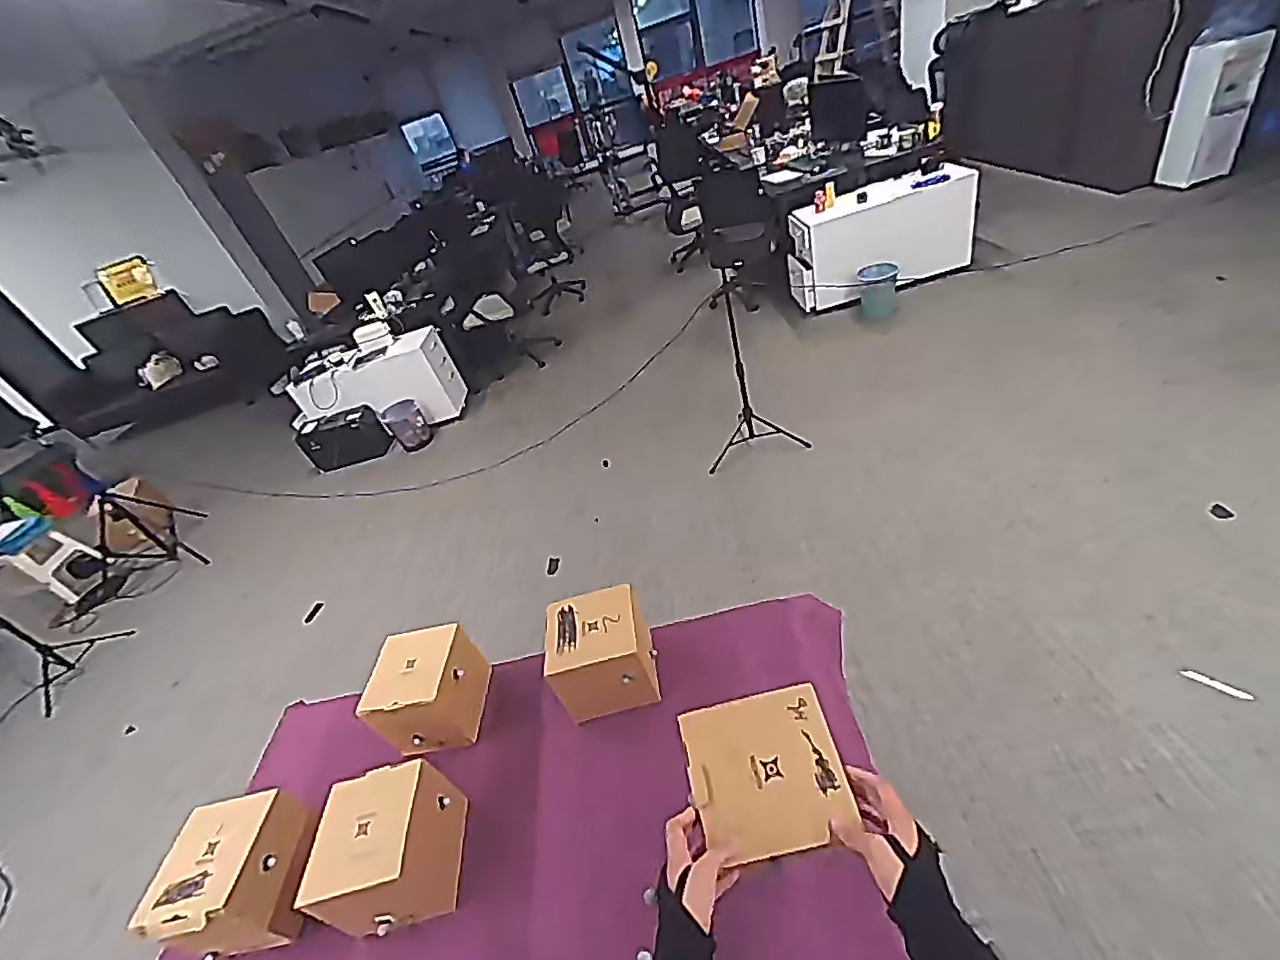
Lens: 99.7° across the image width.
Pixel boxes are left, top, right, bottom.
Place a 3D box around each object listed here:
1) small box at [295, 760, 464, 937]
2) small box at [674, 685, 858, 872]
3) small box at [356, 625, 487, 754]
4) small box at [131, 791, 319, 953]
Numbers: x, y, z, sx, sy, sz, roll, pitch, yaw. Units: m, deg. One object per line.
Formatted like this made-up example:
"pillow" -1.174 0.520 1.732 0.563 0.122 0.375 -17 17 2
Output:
"small box" -0.407 0.599 0.883 0.168 0.176 0.179 -18 36 4
"small box" 0.156 0.385 0.690 0.179 0.176 0.168 -15 52 4
"small box" -0.432 0.429 1.107 0.168 0.176 0.179 -13 37 9
"small box" -0.671 0.666 0.915 0.168 0.176 0.179 -15 35 5
